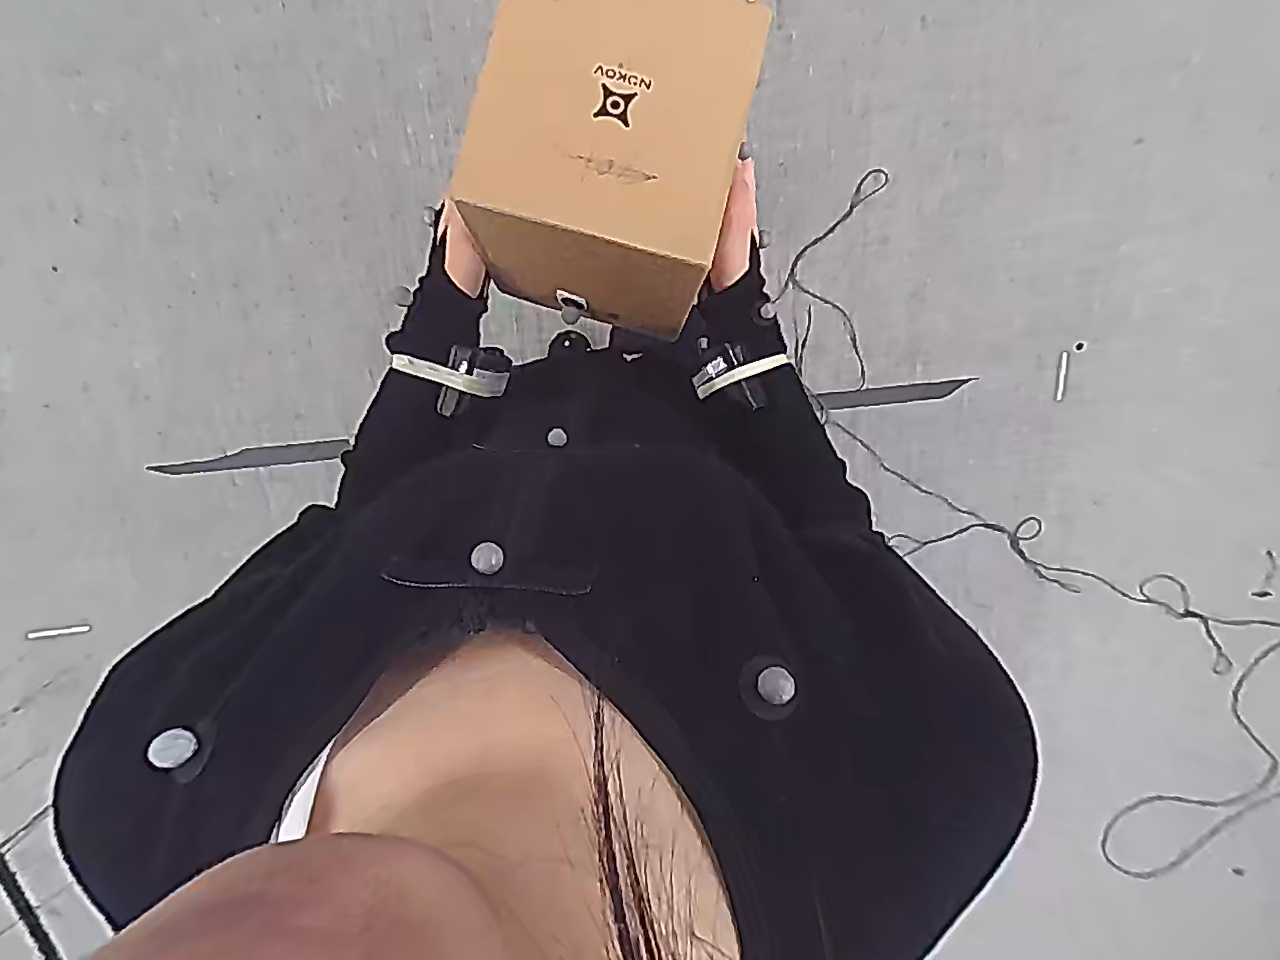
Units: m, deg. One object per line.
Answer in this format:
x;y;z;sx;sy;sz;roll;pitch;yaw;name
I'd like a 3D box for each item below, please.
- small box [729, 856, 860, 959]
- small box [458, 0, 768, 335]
0.258;0.797;0.926;0.168;0.176;0.179;-10;107;-5;small box
-0.020;-0.236;0.419;0.168;0.176;0.179;13;88;-3;small box
